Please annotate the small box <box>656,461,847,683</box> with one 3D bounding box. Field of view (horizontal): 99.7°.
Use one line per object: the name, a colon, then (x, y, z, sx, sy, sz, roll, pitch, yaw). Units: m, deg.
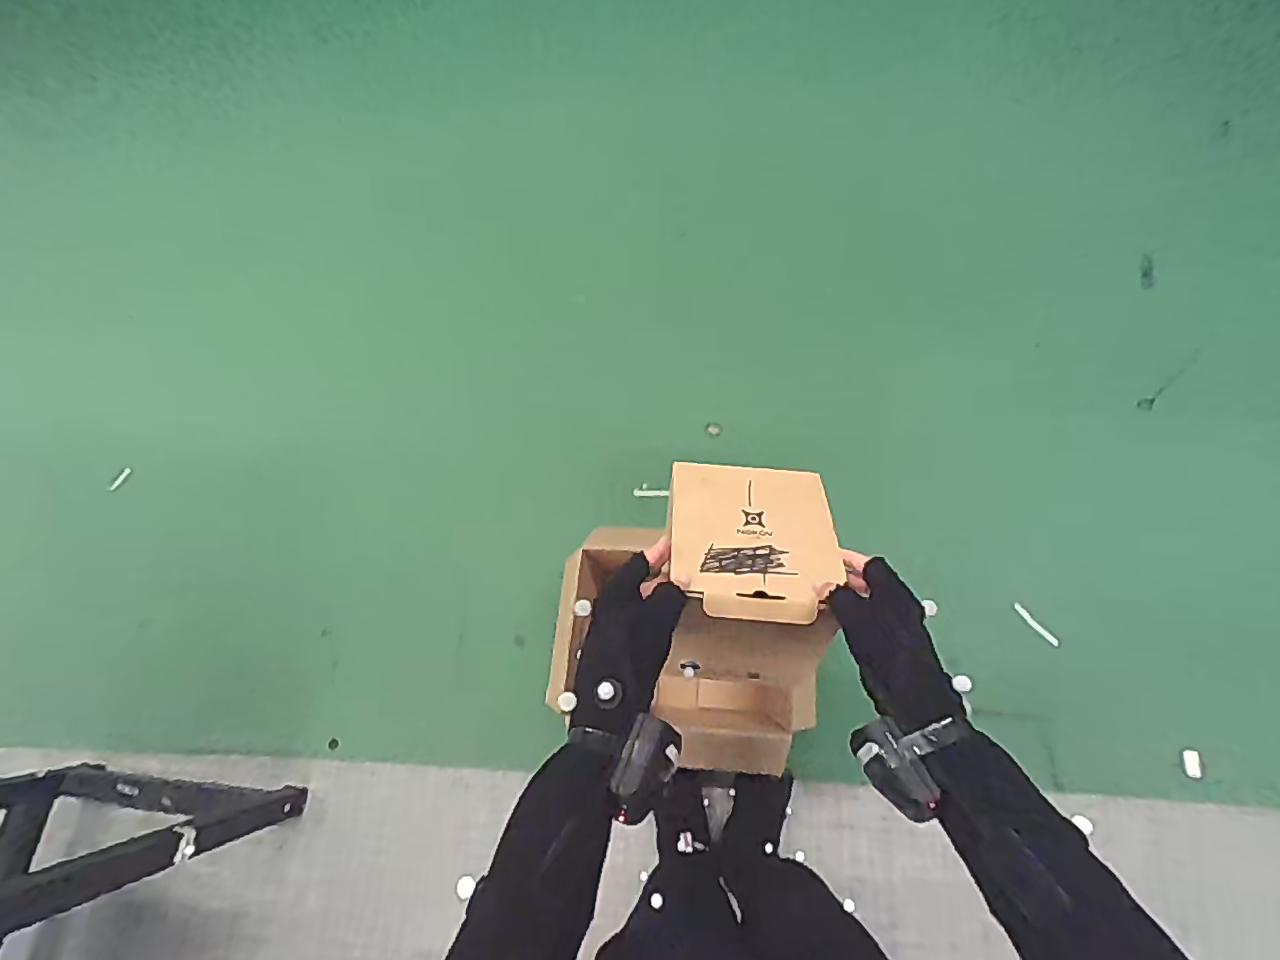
small box: (0.107, 0.103, 0.594, 0.168, 0.176, 0.179, 5, 44, 1)
